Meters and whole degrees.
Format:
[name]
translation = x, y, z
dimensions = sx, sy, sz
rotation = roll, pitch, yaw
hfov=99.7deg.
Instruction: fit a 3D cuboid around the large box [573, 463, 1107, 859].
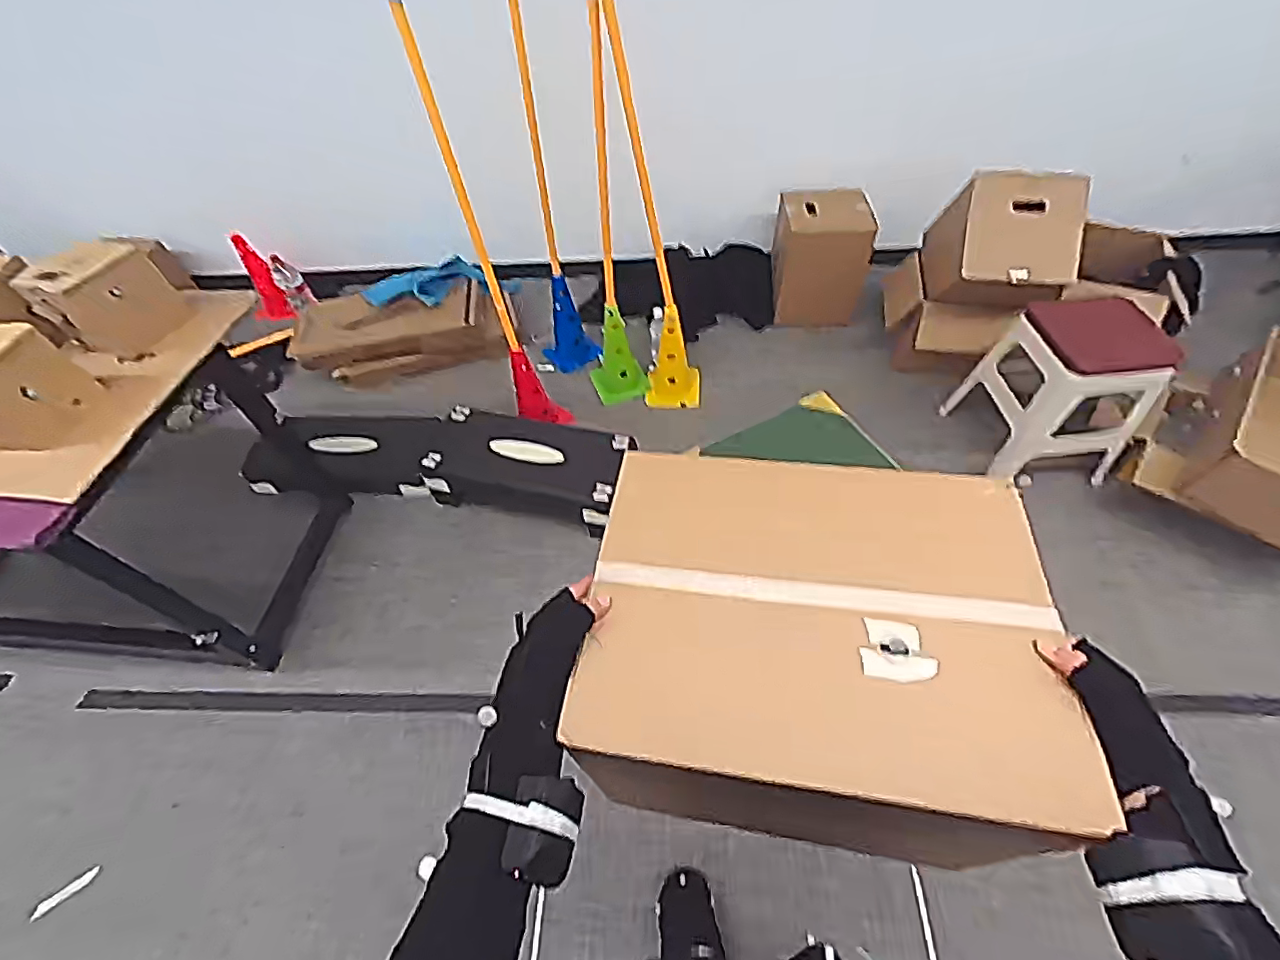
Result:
[large box]
translation = 0.171, 0.204, 0.617
dimensions = 0.408, 0.320, 0.320
rotation = 5, 53, 10
